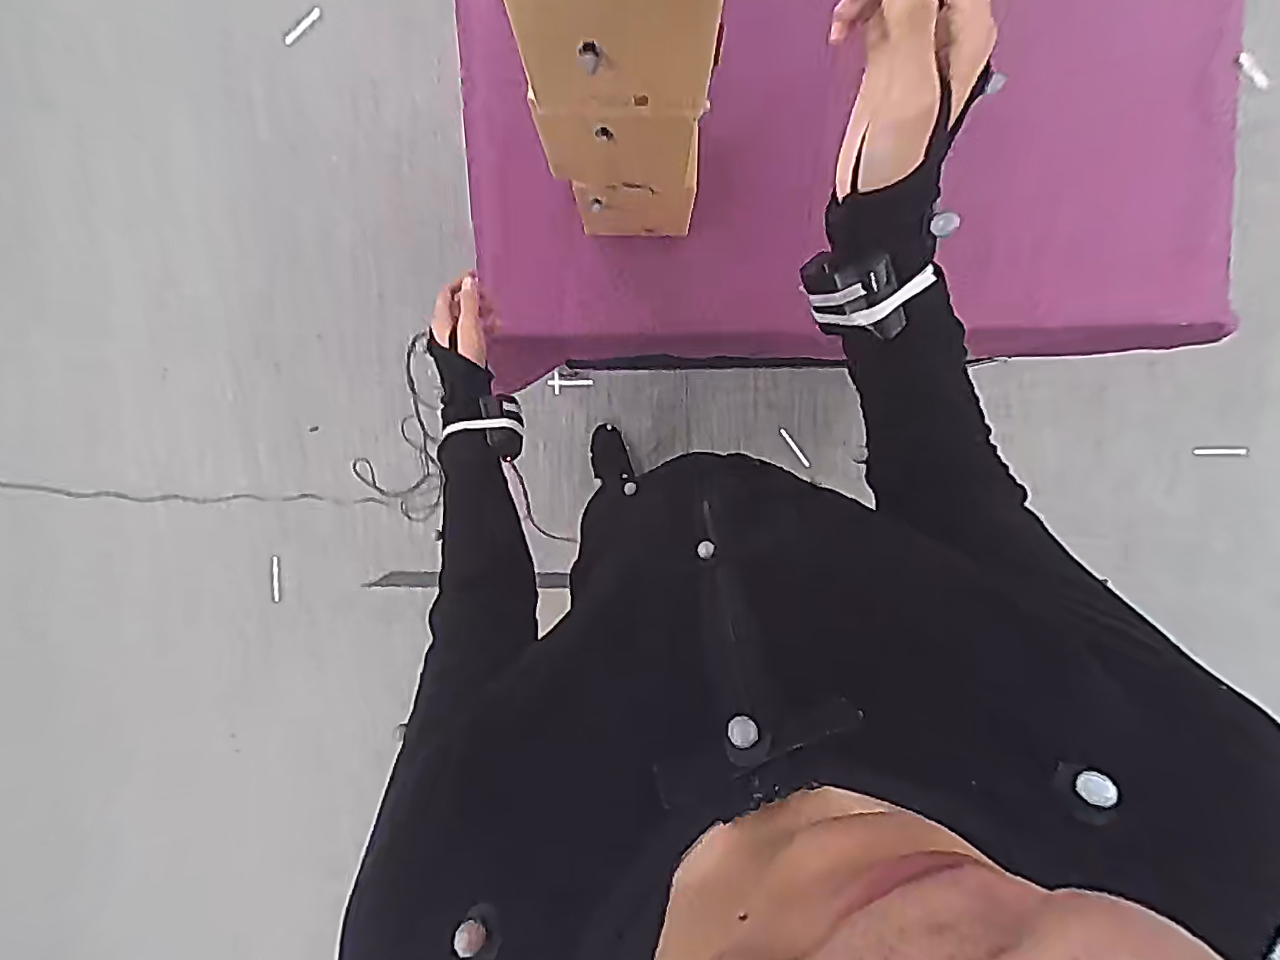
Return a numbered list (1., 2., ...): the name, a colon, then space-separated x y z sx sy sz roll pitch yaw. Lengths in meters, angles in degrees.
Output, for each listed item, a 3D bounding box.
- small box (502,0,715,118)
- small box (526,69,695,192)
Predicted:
1. small box: -0.020 -0.445 0.464 0.168 0.176 0.179 1 93 0
2. small box: -0.021 -0.459 0.626 0.179 0.176 0.168 7 94 -1
